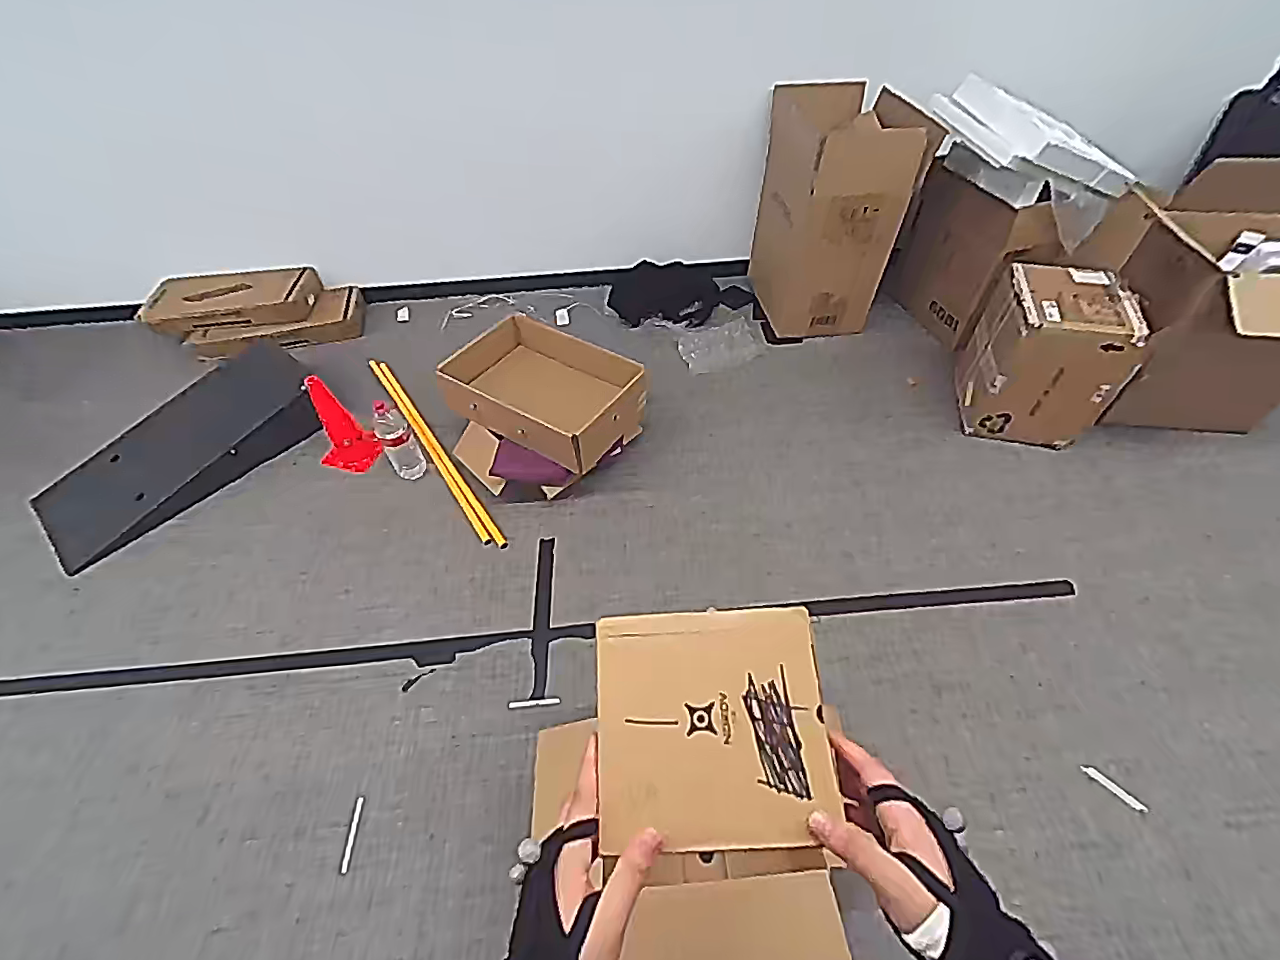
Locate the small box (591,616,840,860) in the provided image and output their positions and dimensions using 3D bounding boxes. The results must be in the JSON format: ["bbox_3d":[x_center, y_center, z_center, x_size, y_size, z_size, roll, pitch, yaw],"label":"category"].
[{"bbox_3d":[0.053,0.223,0.479,0.179,0.176,0.168,-3,62,1],"label":"small box"}]
